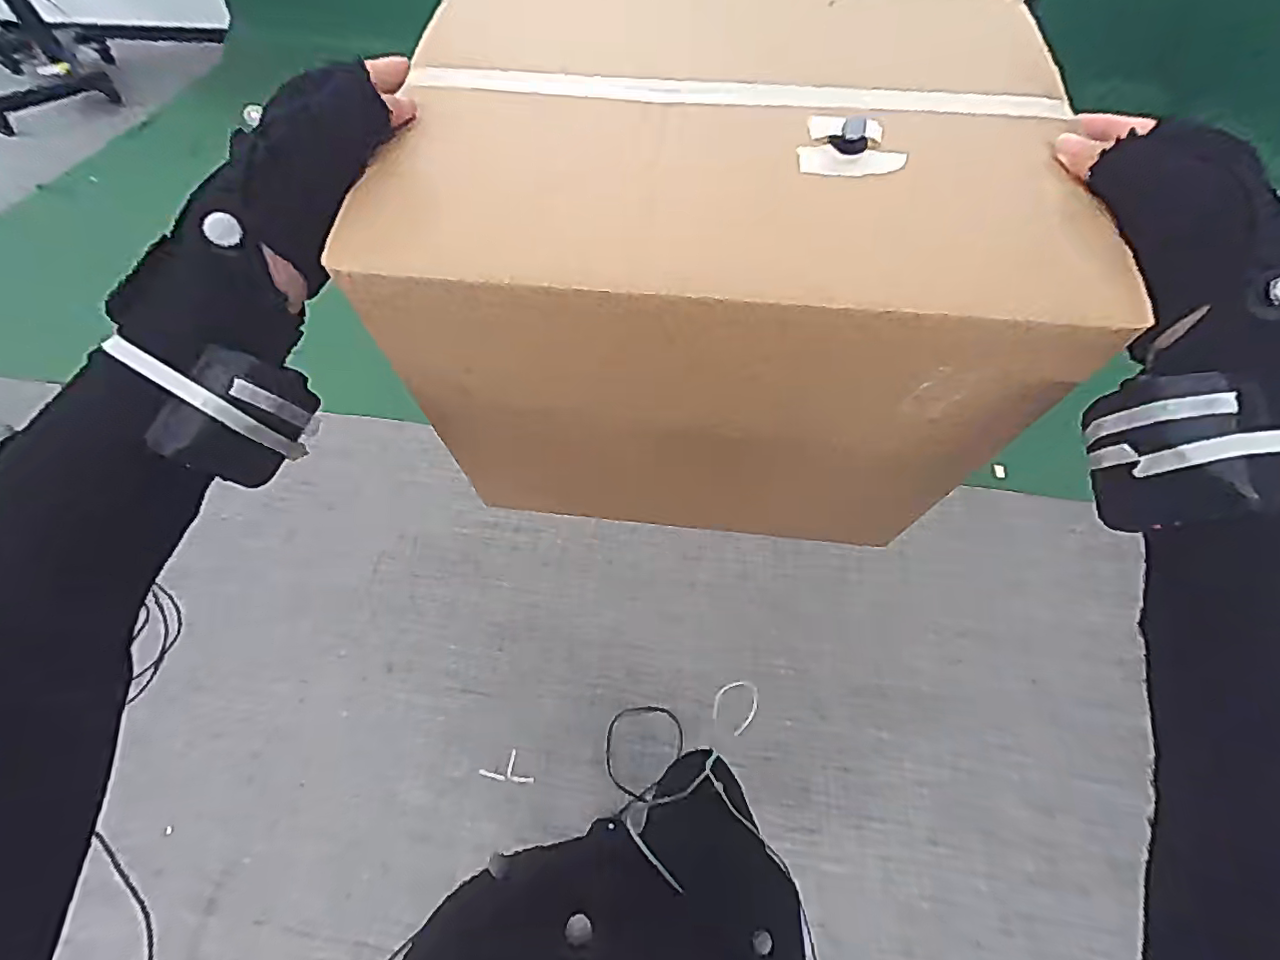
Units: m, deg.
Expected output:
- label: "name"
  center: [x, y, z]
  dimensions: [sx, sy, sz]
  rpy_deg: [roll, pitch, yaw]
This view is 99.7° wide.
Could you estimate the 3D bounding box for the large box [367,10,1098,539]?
- label: "large box"
  center: [0.056, -0.156, 0.489]
  dimensions: [0.408, 0.320, 0.320]
  rpy_deg: [6, 64, 2]
